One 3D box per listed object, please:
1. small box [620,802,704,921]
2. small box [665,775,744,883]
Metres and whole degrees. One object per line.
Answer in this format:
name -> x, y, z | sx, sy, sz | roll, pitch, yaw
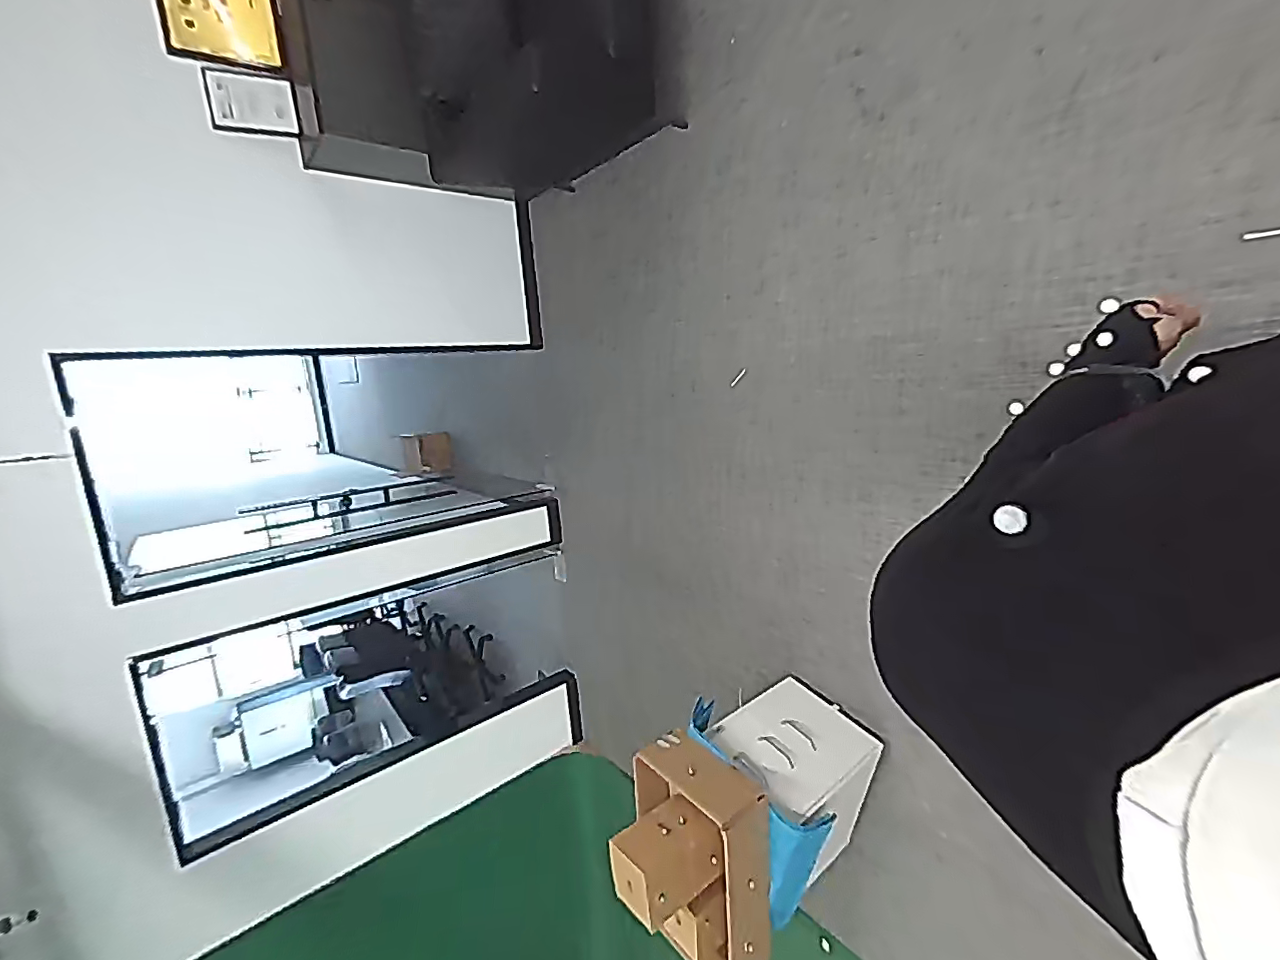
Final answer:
small box -> 0.065, 1.062, 1.521 | 0.168, 0.176, 0.179 | 5, 104, 53
small box -> 0.196, 1.032, 1.614 | 0.168, 0.176, 0.179 | 7, 106, 53
